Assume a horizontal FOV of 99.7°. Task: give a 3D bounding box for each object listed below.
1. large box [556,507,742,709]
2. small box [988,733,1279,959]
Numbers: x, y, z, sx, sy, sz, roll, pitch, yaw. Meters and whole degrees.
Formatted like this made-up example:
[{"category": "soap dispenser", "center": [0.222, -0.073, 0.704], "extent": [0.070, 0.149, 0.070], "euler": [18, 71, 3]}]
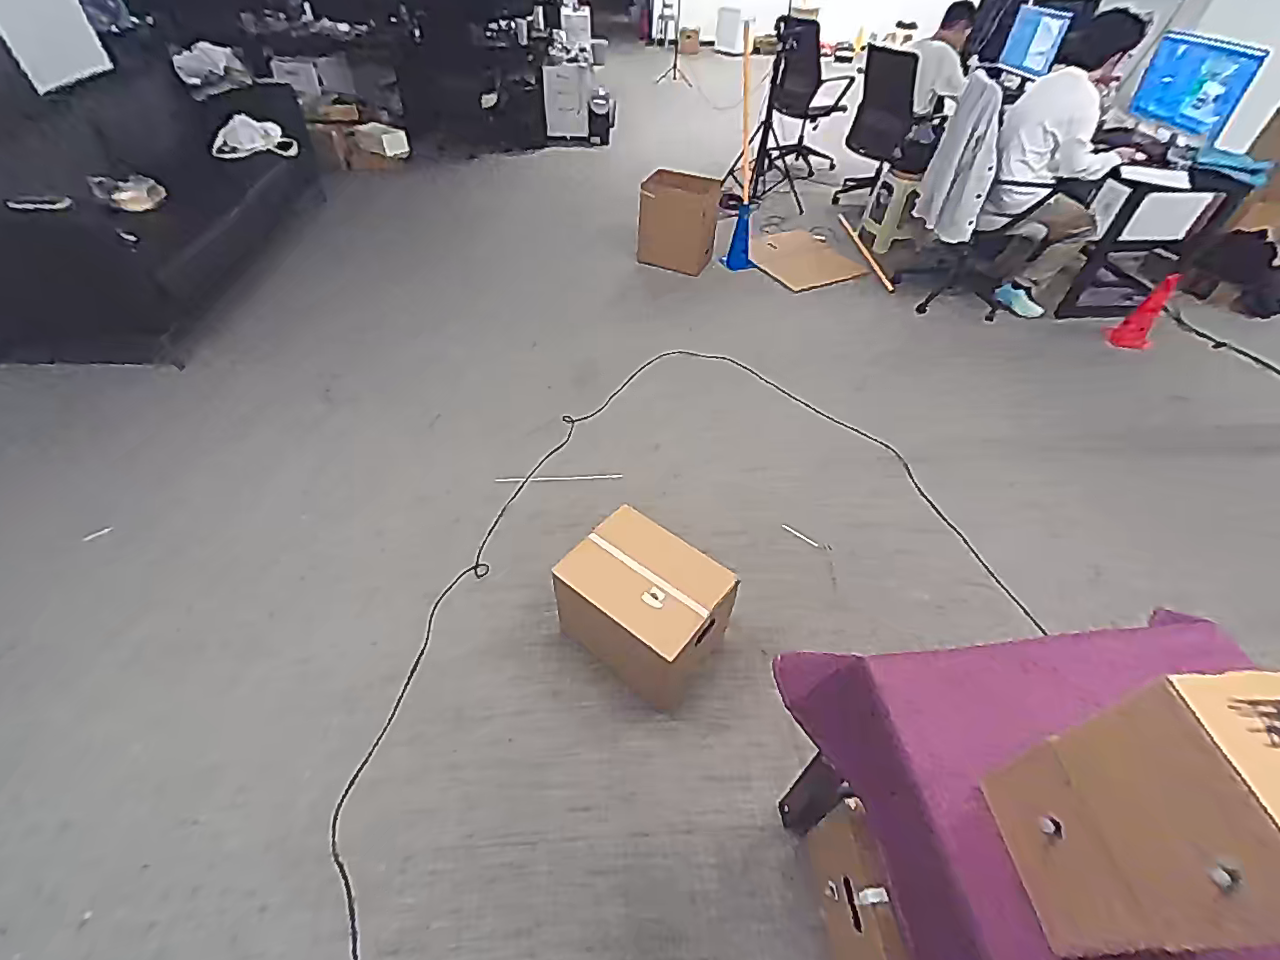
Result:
[{"category": "large box", "center": [0.015, 0.355, 1.533], "extent": [0.408, 0.320, 0.320], "euler": [32, 53, 24]}, {"category": "small box", "center": [0.528, 0.399, 0.590], "extent": [0.168, 0.176, 0.179], "euler": [-1, 45, -3]}]
